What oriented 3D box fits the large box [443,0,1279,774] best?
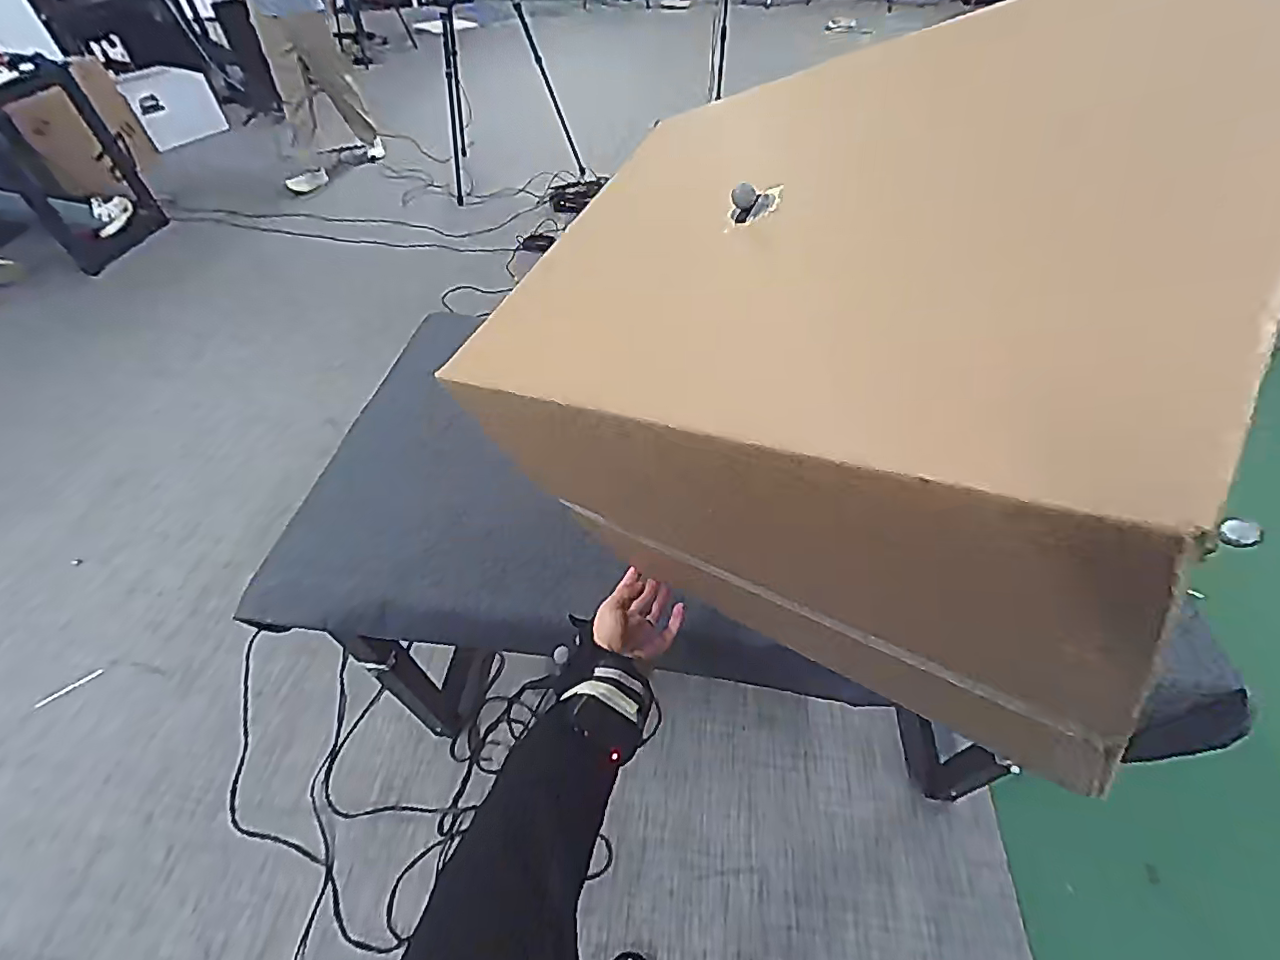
[{"bbox_3d":[0.139,-0.058,0.403,0.408,0.320,0.320,17,66,43],"label":"large box"}]
